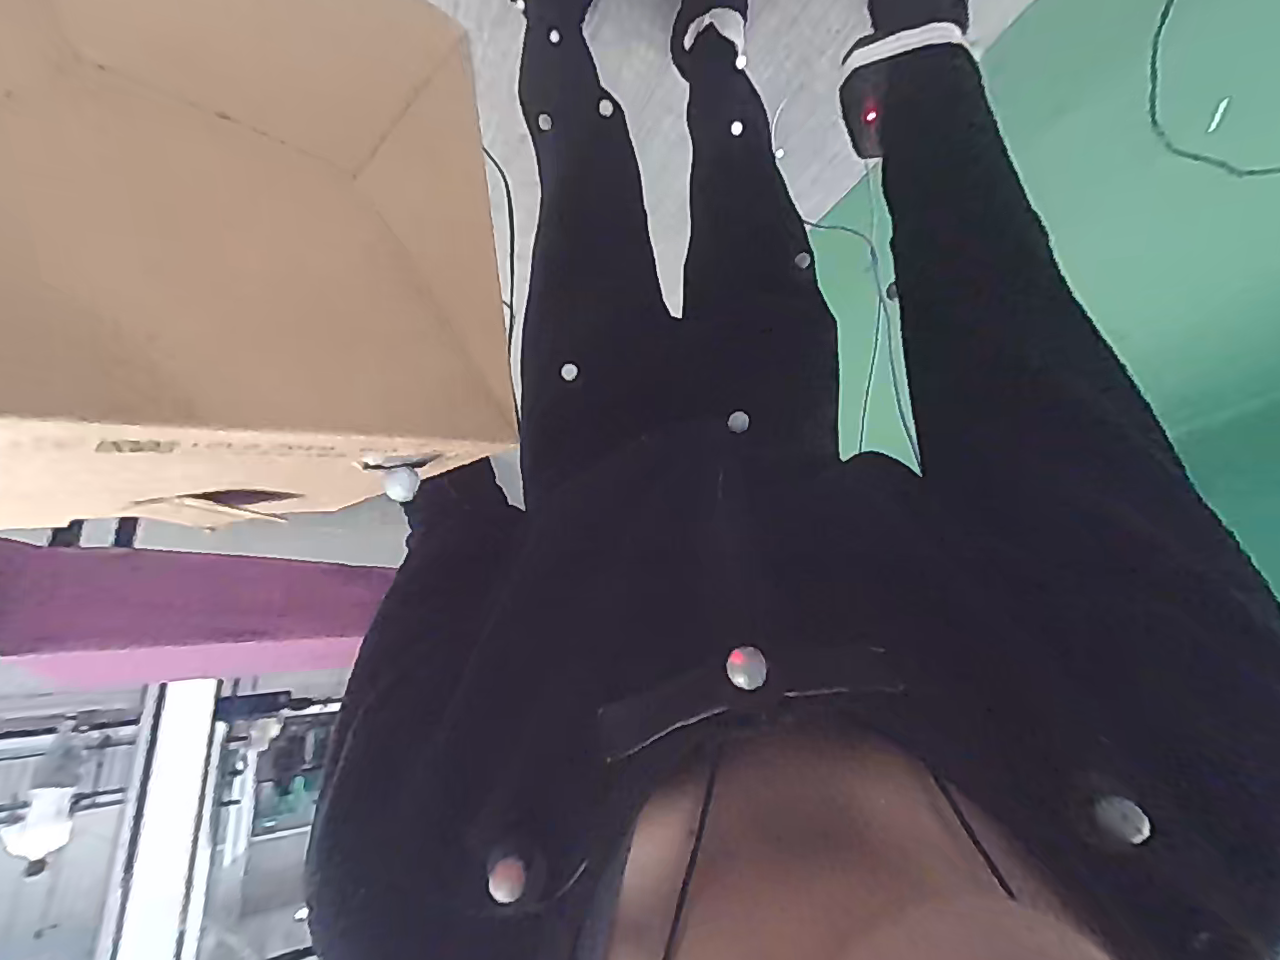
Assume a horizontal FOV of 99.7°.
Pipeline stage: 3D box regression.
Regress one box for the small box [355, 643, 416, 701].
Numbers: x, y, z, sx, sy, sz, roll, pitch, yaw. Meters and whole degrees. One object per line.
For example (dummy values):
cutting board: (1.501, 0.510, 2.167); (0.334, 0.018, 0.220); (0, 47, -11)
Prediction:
small box: (-0.912, 0.687, 1.939); (0.179, 0.176, 0.168); (5, 153, -29)
